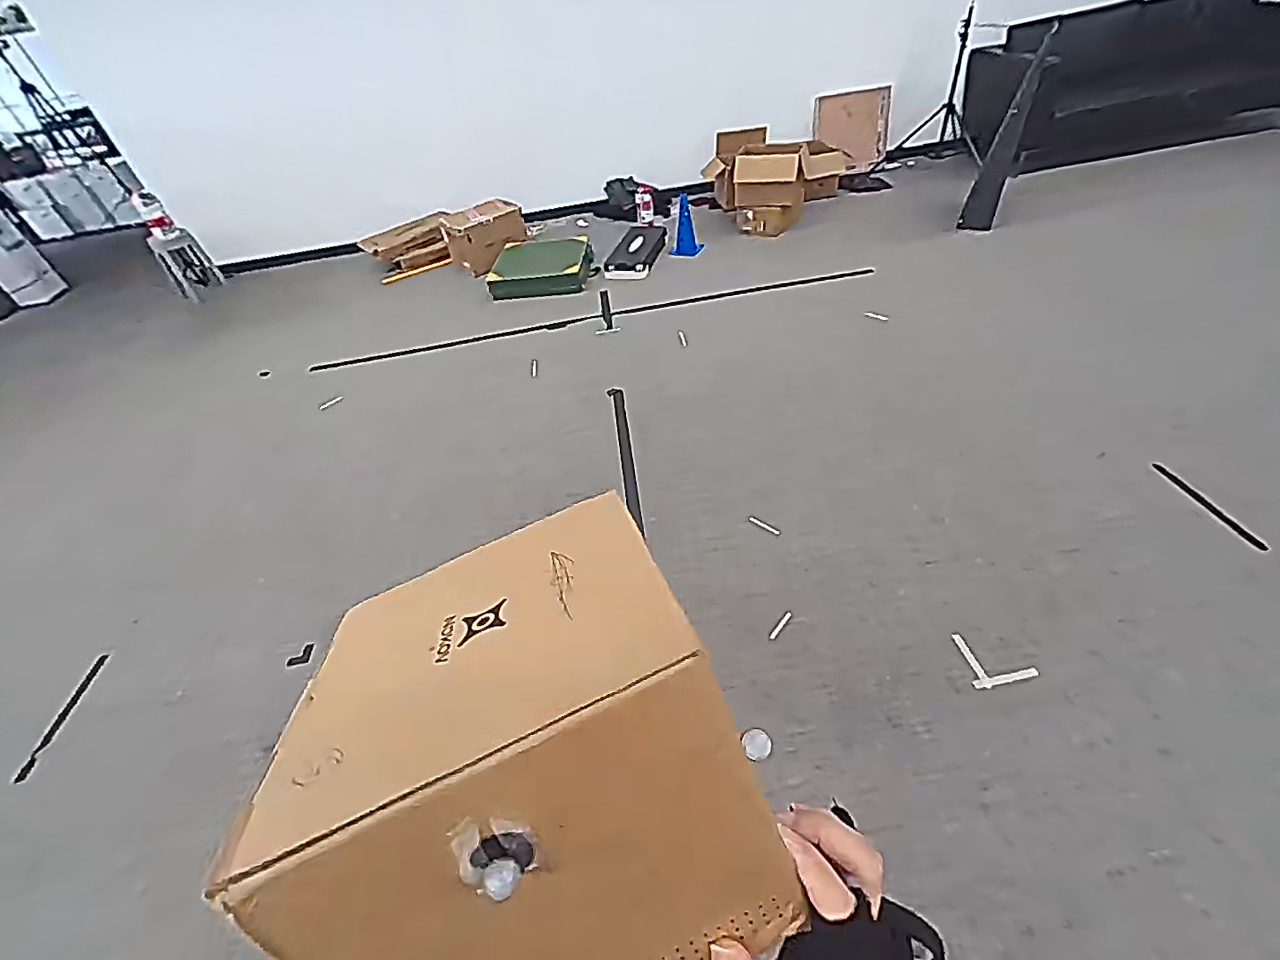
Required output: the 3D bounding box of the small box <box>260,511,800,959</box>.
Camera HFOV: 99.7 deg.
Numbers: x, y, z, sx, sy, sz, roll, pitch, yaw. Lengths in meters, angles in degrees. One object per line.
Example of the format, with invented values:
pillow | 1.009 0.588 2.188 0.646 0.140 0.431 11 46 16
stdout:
small box | -0.041 0.149 0.294 0.179 0.176 0.168 -24 22 -5
